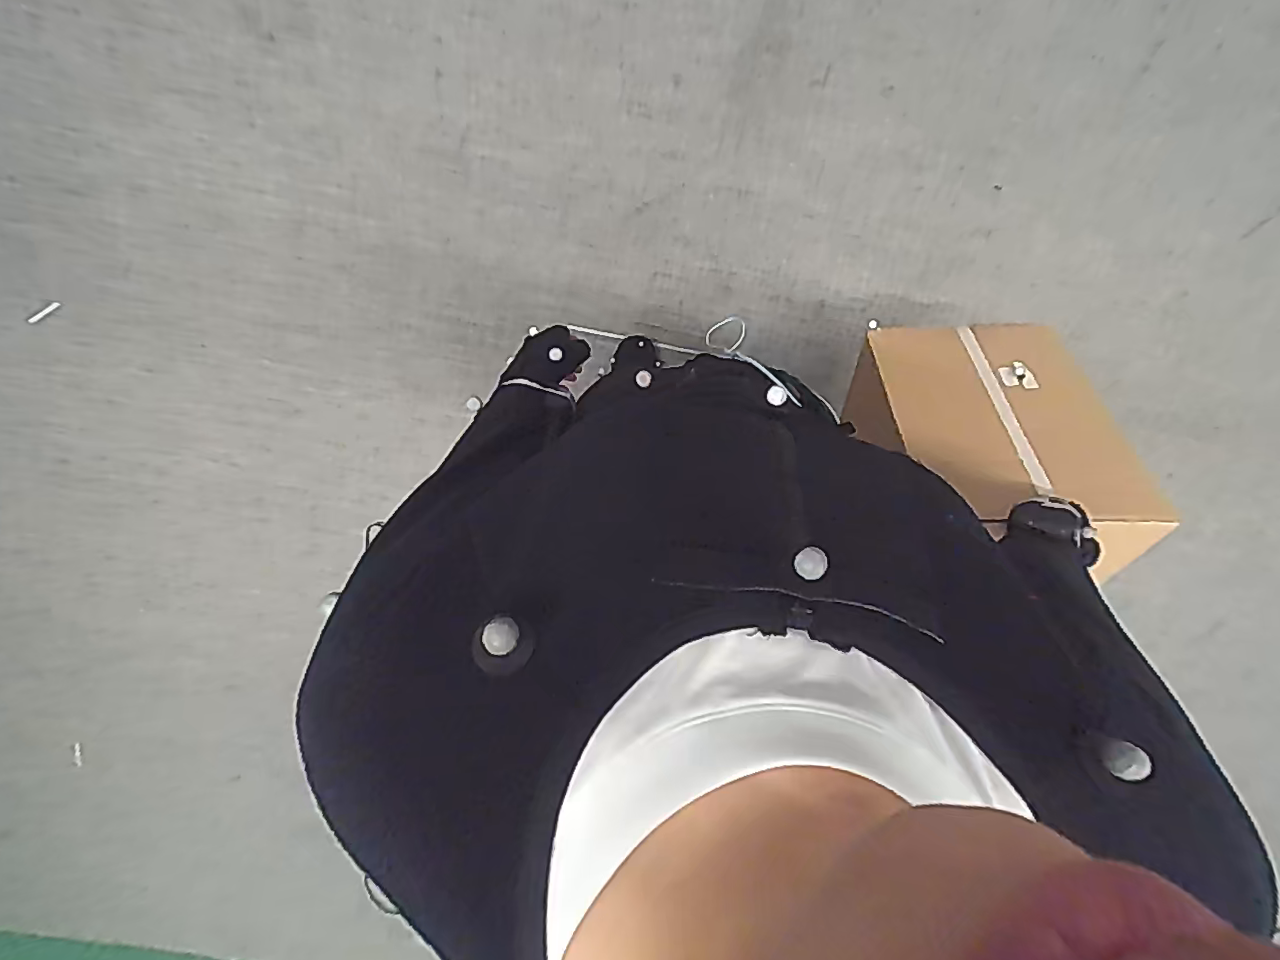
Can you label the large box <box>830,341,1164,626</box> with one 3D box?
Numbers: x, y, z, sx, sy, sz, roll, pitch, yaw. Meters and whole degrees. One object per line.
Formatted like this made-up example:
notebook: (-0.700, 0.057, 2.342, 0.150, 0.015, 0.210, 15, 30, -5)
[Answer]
large box: (0.549, 0.008, 0.949, 0.320, 0.408, 0.320, 0, 141, 4)
